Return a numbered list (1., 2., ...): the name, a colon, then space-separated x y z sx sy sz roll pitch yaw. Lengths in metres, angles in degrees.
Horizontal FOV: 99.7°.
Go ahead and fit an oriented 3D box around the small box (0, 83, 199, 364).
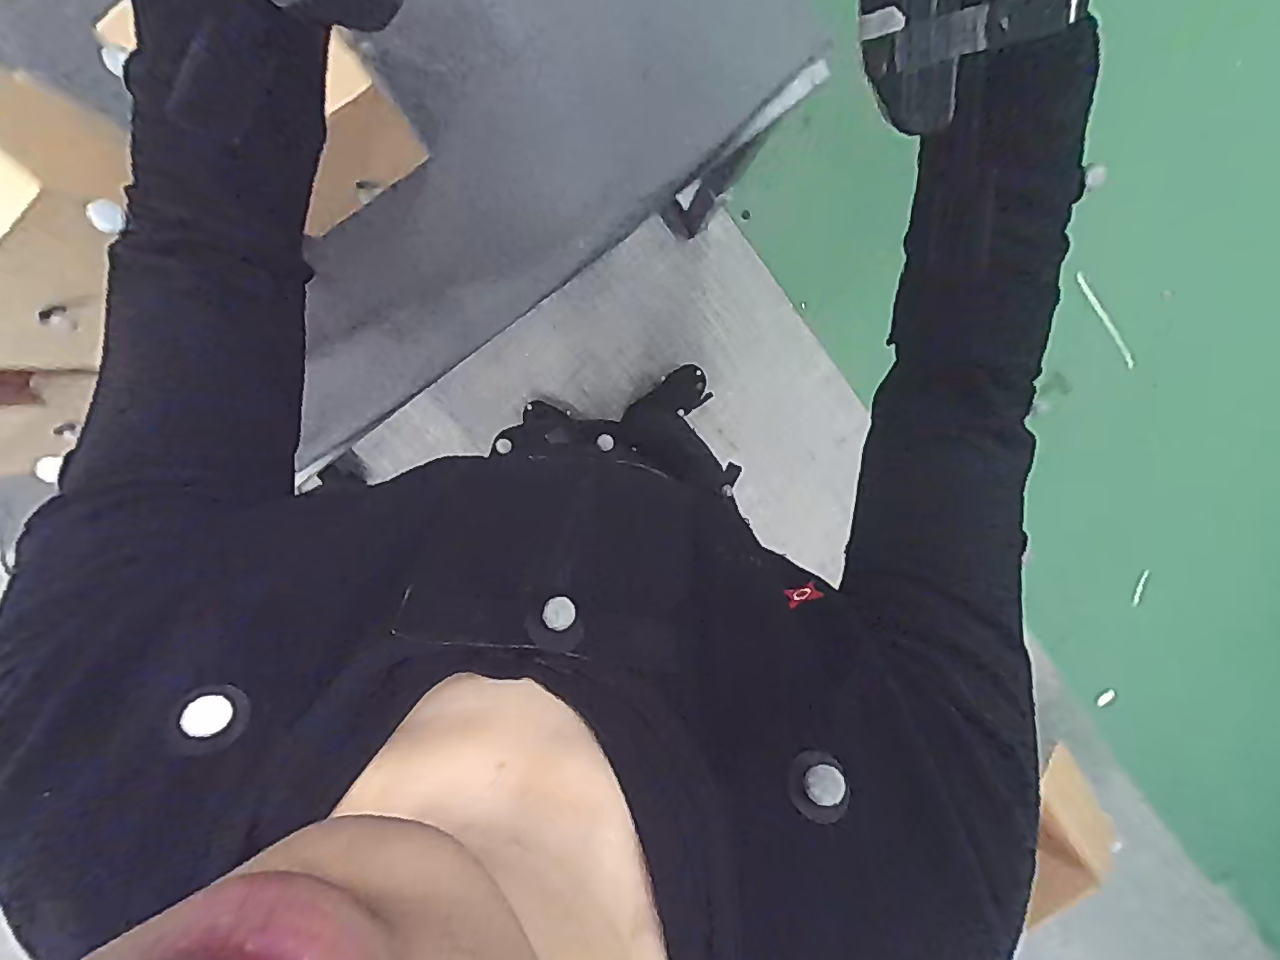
1. small box: -0.512 -0.205 0.418 0.179 0.176 0.168 44 94 -10
